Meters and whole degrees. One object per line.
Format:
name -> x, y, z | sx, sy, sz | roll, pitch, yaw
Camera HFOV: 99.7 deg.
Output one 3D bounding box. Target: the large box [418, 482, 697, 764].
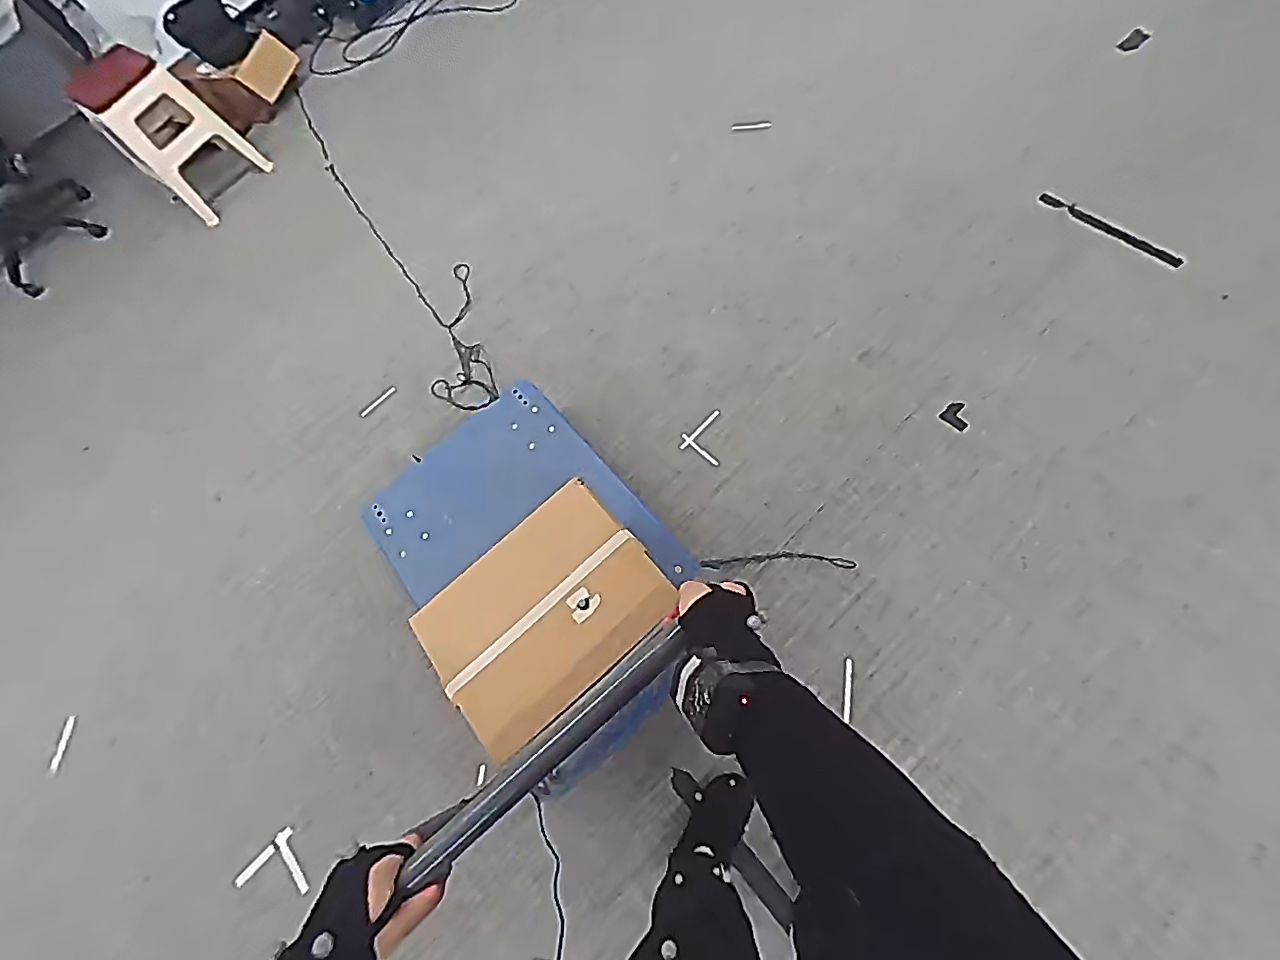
large box -> -0.142, 0.287, 1.087 | 0.408, 0.320, 0.320 | -41, 68, -6
